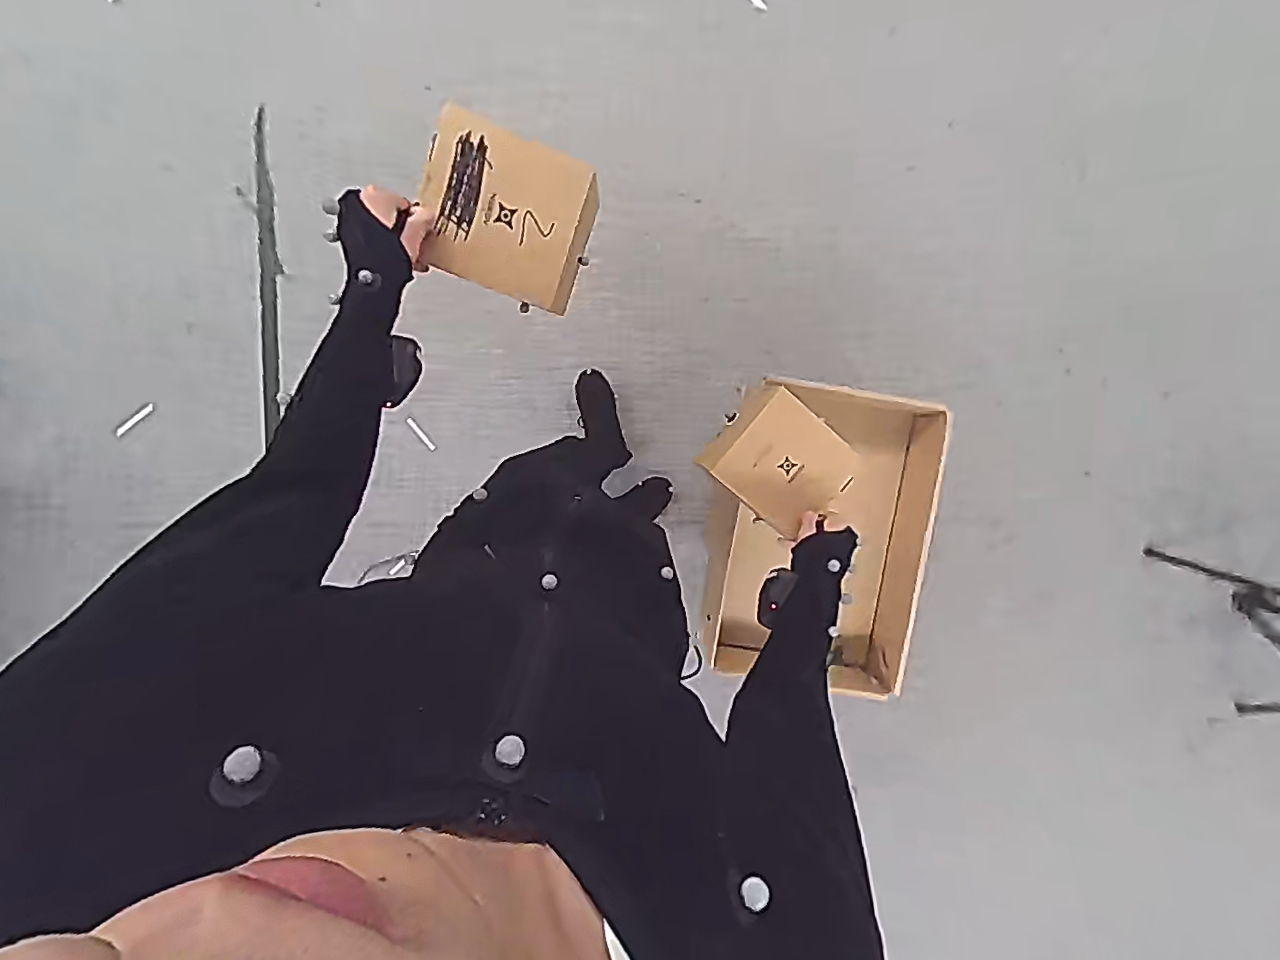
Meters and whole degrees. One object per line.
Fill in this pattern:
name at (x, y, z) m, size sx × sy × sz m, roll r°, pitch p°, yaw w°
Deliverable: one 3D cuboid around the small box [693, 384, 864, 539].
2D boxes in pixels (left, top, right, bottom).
small box at (0.208, -0.038, 0.863) m, size 0.179 × 0.176 × 0.168 m, roll 39°, pitch 94°, yaw -9°
